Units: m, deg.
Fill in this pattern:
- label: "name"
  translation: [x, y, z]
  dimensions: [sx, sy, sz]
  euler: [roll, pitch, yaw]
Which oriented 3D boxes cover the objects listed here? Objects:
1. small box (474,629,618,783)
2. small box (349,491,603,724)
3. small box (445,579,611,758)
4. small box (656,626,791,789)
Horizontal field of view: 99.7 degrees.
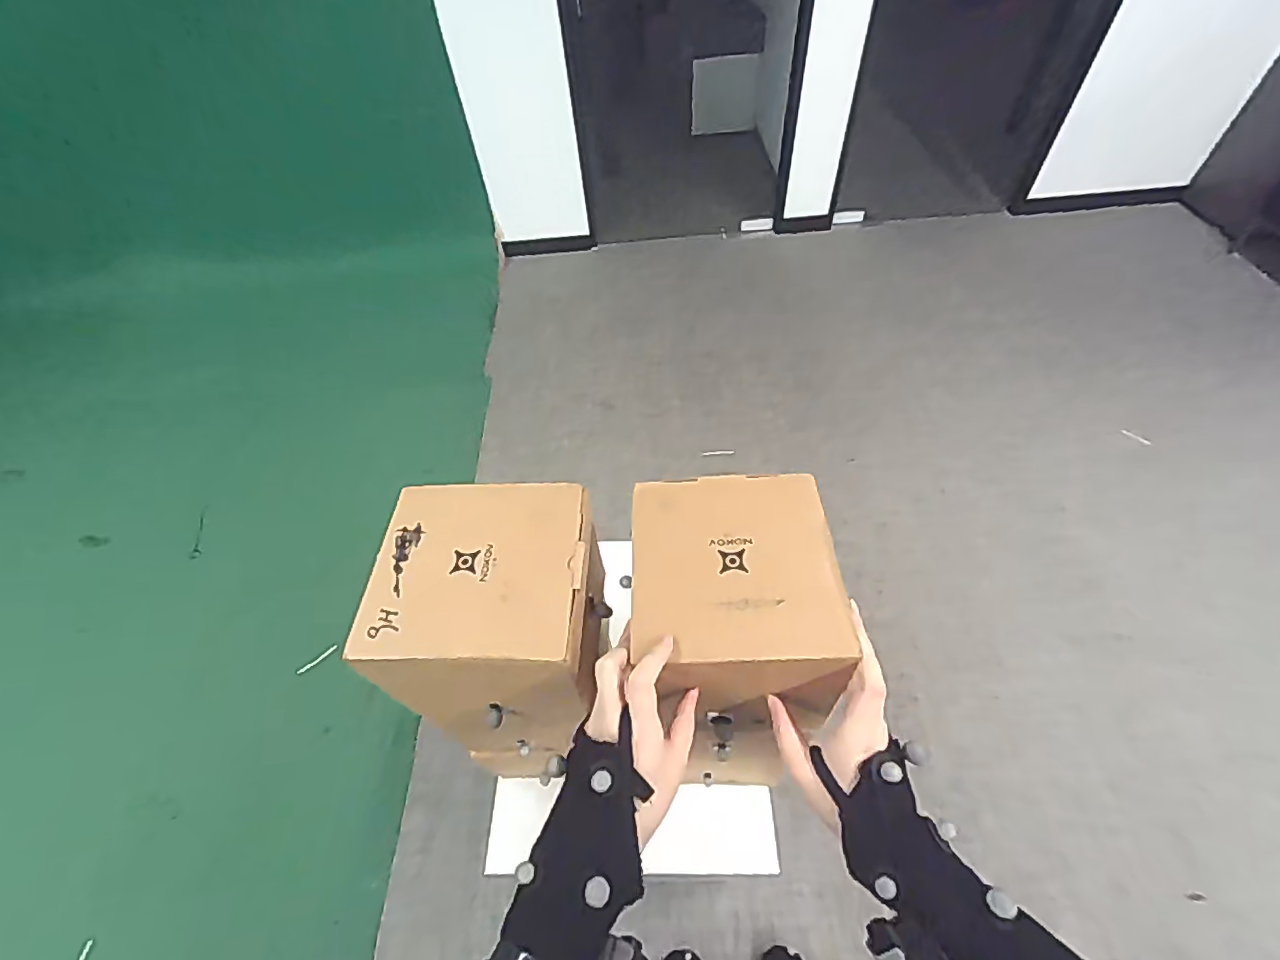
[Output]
- label: "small box"
  translation: [-0.122, 0.324, 0.781]
  dimensions: [0.168, 0.176, 0.179]
  euler: [-2, 53, 3]
- label: "small box"
  translation: [-0.131, 0.126, 0.520]
  dimensions: [0.179, 0.176, 0.168]
  euler: [0, 52, 3]
- label: "small box"
  translation: [-0.127, 0.221, 0.654]
  dimensions: [0.168, 0.176, 0.179]
  euler: [-1, 52, 4]
- label: "small box"
  translation: [0.110, 0.322, 0.764]
  dimensions: [0.168, 0.176, 0.179]
  euler: [-1, 53, 5]
